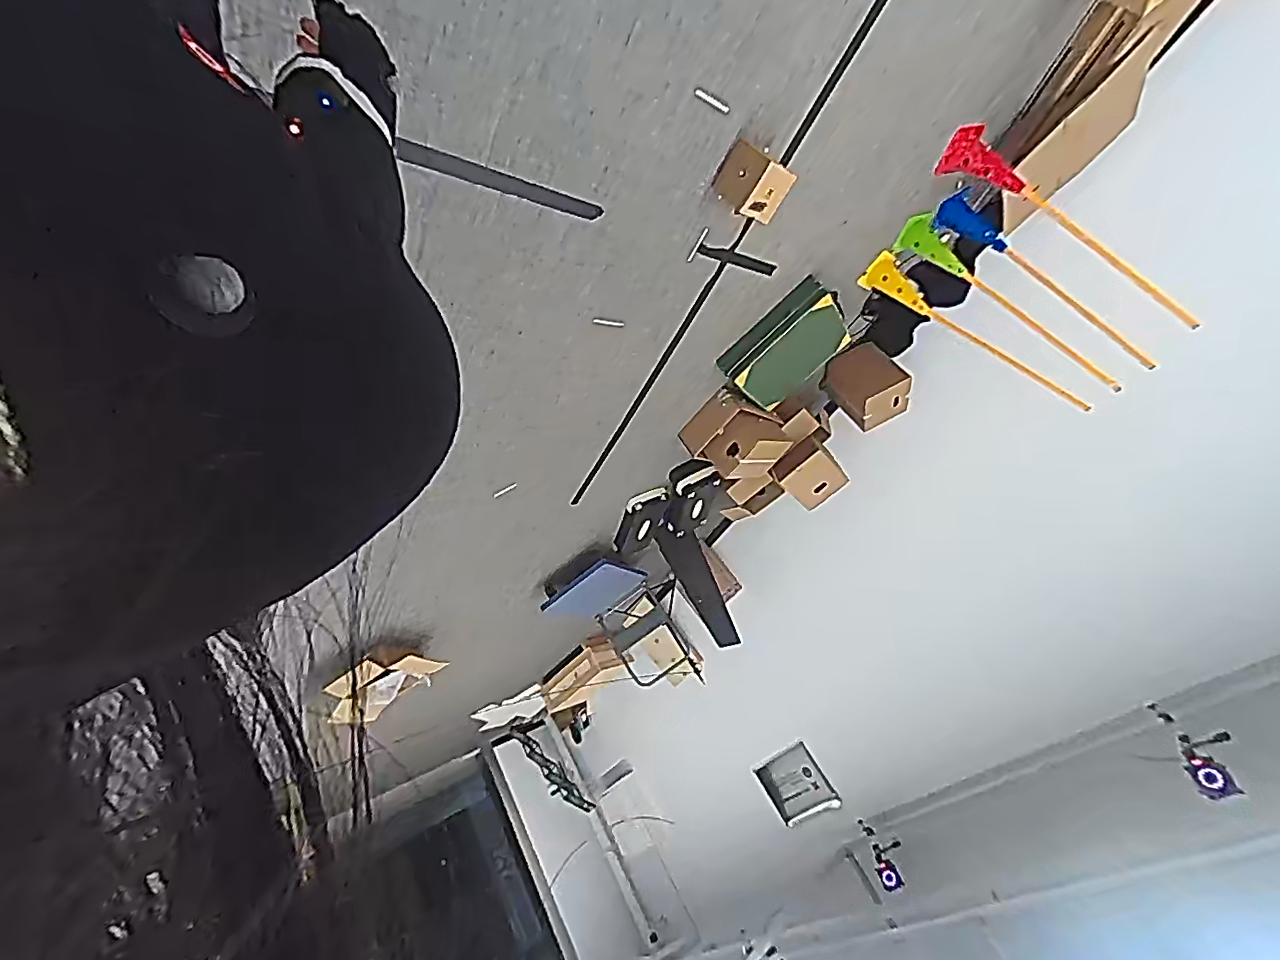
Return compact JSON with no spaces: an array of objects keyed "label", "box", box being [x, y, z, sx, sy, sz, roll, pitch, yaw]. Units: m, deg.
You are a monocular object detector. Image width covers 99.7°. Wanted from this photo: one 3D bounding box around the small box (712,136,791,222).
[{"label":"small box","box":[0.369,-1.023,1.841,0.168,0.176,0.179,-7,142,-45]}]
